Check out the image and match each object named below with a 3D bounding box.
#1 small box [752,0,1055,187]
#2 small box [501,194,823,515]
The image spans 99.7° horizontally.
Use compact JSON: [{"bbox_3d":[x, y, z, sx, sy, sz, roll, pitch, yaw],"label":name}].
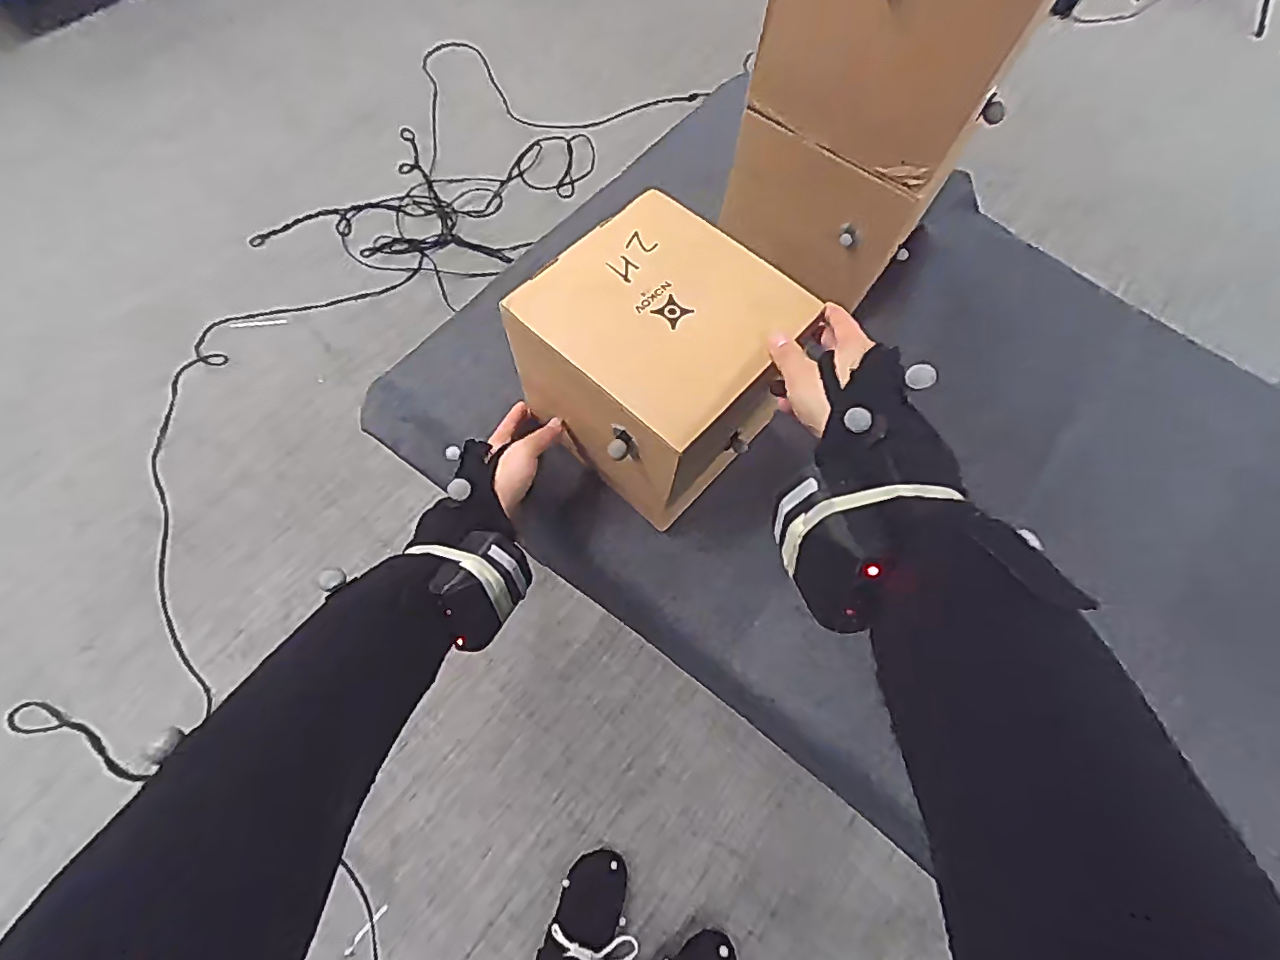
[{"bbox_3d":[0.208,-0.367,0.409,0.179,0.176,0.168,34,74,9],"label":"small box"},{"bbox_3d":[0.015,-0.090,0.461,0.179,0.176,0.168,41,71,14],"label":"small box"}]
